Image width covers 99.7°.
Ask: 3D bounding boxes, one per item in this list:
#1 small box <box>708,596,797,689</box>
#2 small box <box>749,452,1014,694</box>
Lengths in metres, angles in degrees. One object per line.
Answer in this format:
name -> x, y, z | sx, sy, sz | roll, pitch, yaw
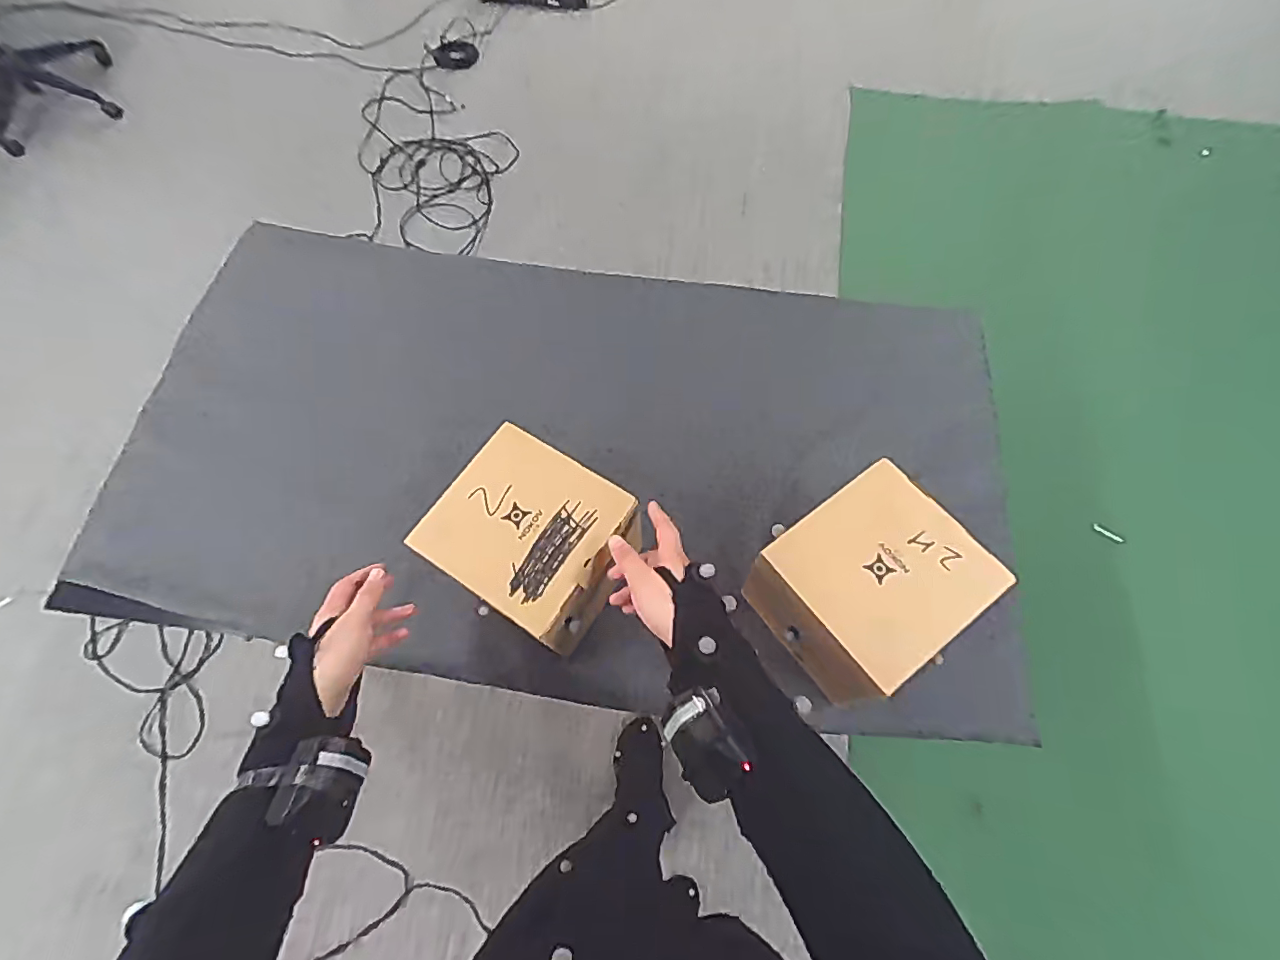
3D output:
small box -> 0.260, 0.383, 1.257 | 0.179, 0.176, 0.168 | 12, 69, 5
small box -> 0.233, 0.108, 0.579 | 0.179, 0.176, 0.168 | -34, 69, -13
